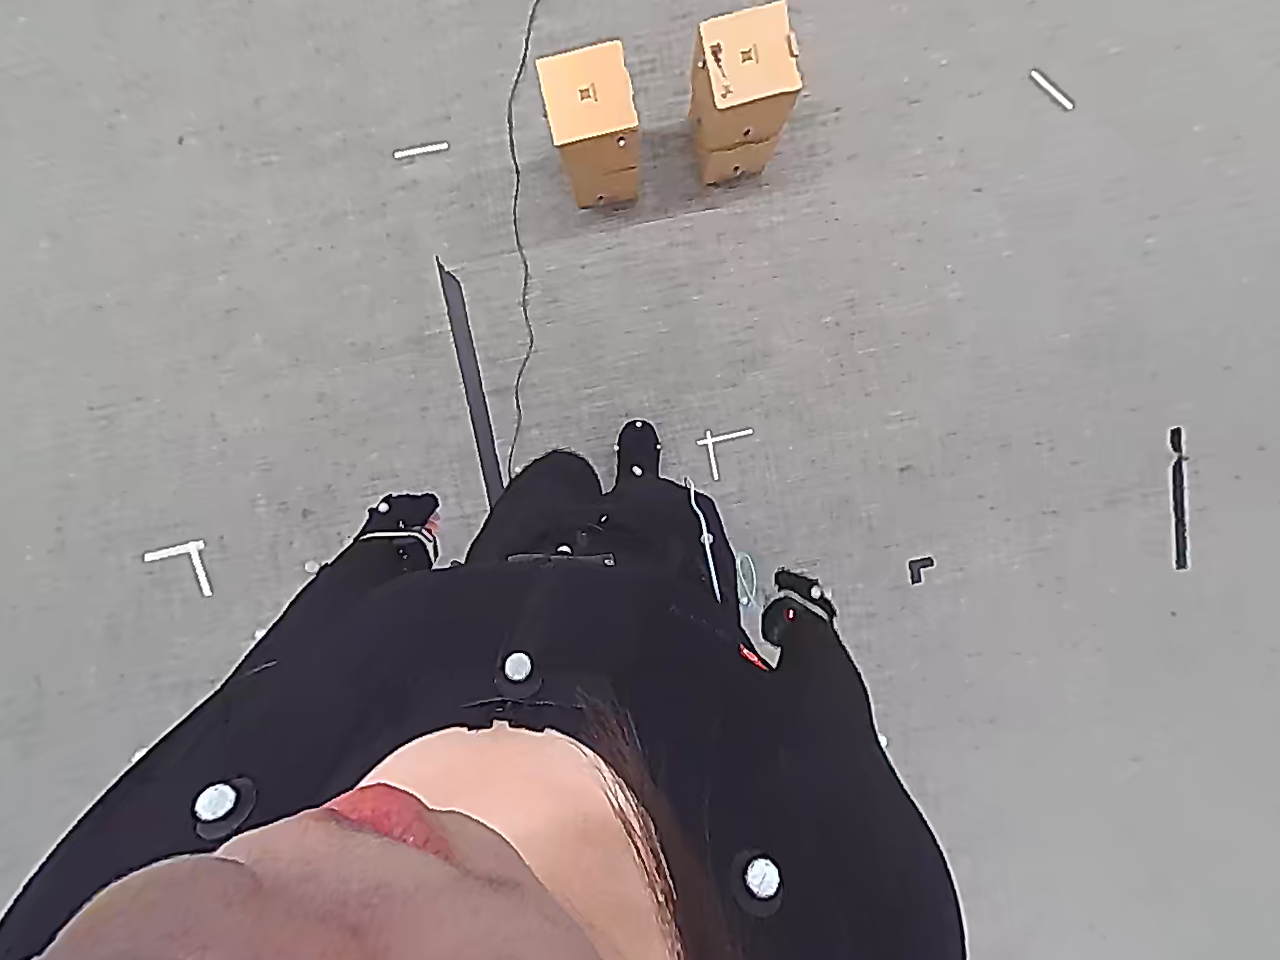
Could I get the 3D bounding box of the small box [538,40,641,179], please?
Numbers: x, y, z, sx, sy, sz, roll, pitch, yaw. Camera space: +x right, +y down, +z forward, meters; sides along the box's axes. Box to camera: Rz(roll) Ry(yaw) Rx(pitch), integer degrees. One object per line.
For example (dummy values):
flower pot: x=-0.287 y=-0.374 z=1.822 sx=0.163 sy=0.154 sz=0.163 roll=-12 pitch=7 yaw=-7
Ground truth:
small box: x=-0.099 y=-0.769 z=1.143 sx=0.179 sy=0.176 sz=0.168 roll=-13 pitch=97 yaw=2

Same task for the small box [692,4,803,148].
small box: x=0.217 y=-0.834 z=1.132 sx=0.179 sy=0.176 sz=0.168 roll=-13 pitch=96 yaw=0

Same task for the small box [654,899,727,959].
small box: x=0.128 y=1.207 z=1.366 sx=0.179 sy=0.176 sz=0.168 roll=-6 pitch=98 yaw=0

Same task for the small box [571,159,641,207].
small box: x=-0.091 y=-0.791 z=1.304 sx=0.168 sy=0.176 sz=0.179 roll=-9 pitch=98 yaw=2

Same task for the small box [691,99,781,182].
small box: x=0.223 y=-0.853 z=1.296 sx=0.168 sy=0.176 sz=0.179 roll=-12 pitch=97 yaw=2
